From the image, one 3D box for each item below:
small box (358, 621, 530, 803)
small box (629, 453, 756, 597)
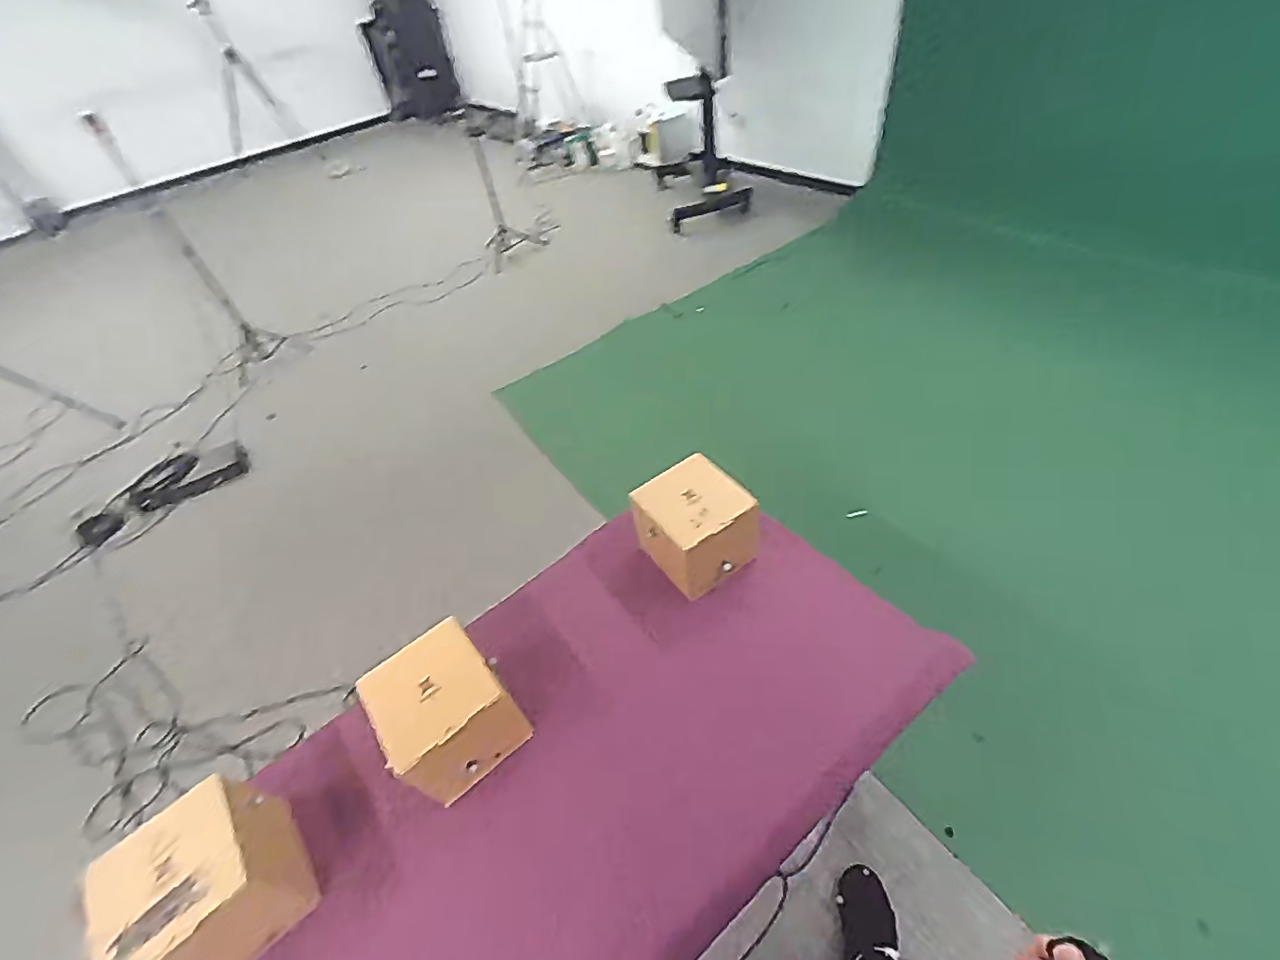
[{"bbox_3d":[-0.301,0.365,0.851,0.168,0.176,0.179,-35,52,-22],"label":"small box"},{"bbox_3d":[0.101,0.087,1.030,0.168,0.176,0.179,-32,50,-17],"label":"small box"}]
